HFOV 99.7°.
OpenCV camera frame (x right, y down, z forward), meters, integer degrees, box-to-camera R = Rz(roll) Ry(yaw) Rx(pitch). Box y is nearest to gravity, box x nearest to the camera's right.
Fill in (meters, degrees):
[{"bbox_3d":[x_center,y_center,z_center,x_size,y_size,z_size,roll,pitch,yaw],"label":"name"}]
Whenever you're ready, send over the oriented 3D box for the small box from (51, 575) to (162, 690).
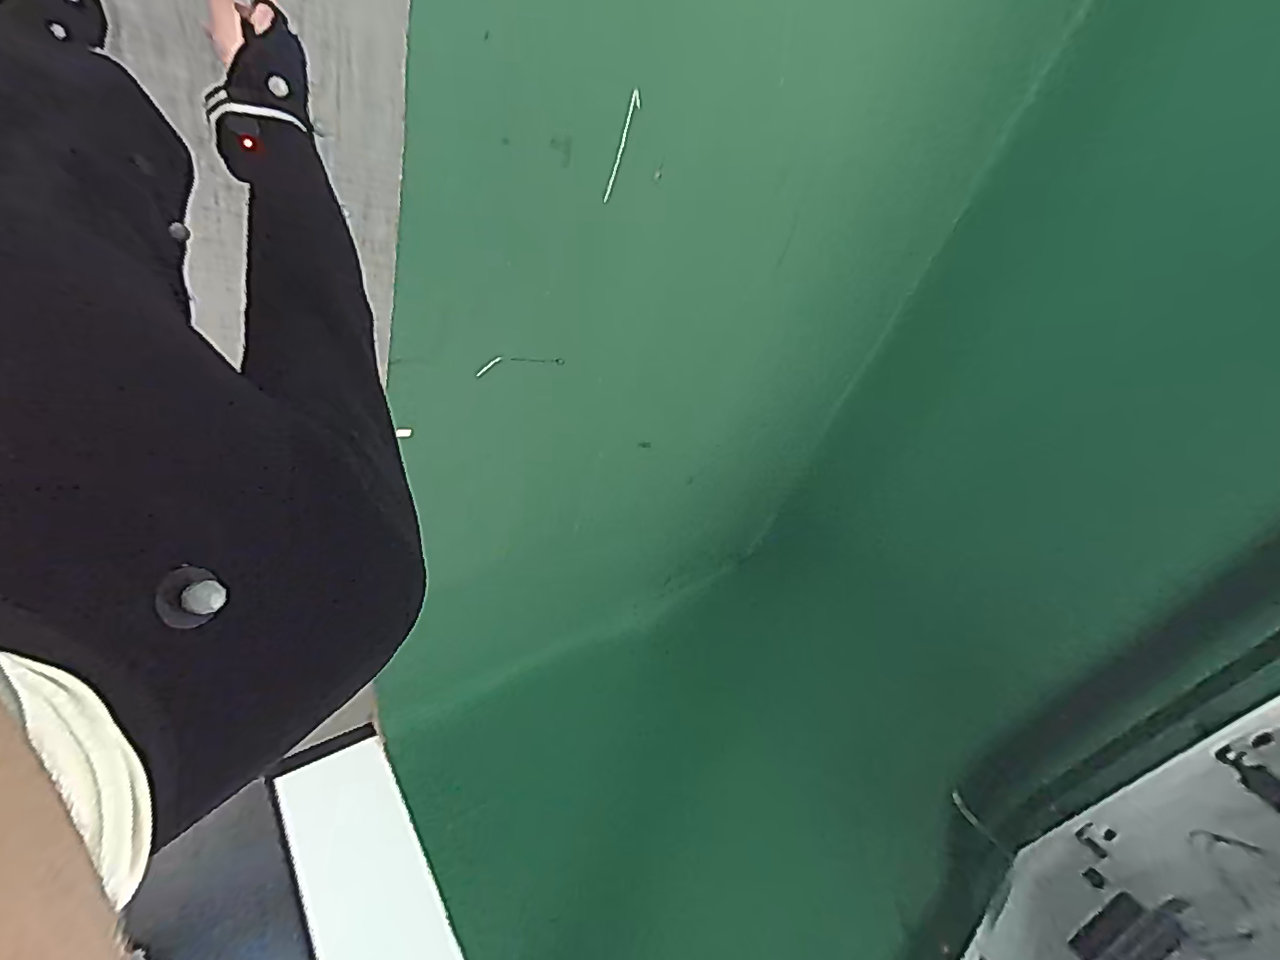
[{"bbox_3d":[-1.221,0.338,1.241,0.168,0.176,0.179,-8,133,-43],"label":"small box"}]
